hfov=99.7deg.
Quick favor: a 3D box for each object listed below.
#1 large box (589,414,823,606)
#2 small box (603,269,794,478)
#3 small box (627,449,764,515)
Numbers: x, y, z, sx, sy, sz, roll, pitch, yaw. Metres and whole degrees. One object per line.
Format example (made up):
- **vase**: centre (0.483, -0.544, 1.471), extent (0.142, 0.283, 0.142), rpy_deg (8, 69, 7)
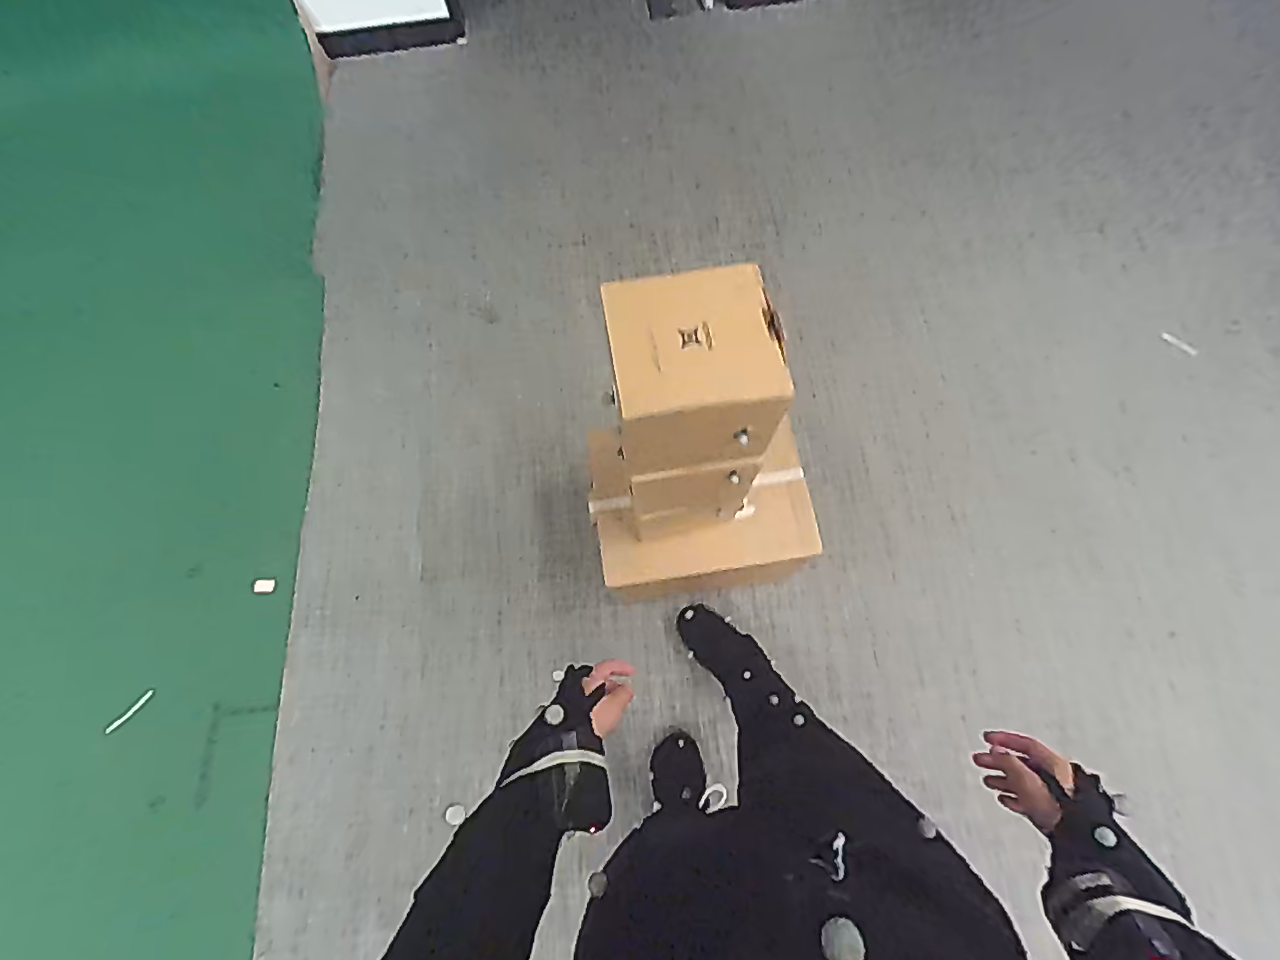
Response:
- **large box**: centre (0.120, 0.073, 1.170), extent (0.408, 0.320, 0.320), rpy_deg (-9, 72, -2)
- **small box**: centre (0.058, -0.115, 0.635), extent (0.179, 0.176, 0.168), rpy_deg (-10, 69, -1)
- **small box**: centre (0.064, -0.057, 0.787), extent (0.179, 0.176, 0.168), rpy_deg (-9, 70, -2)
